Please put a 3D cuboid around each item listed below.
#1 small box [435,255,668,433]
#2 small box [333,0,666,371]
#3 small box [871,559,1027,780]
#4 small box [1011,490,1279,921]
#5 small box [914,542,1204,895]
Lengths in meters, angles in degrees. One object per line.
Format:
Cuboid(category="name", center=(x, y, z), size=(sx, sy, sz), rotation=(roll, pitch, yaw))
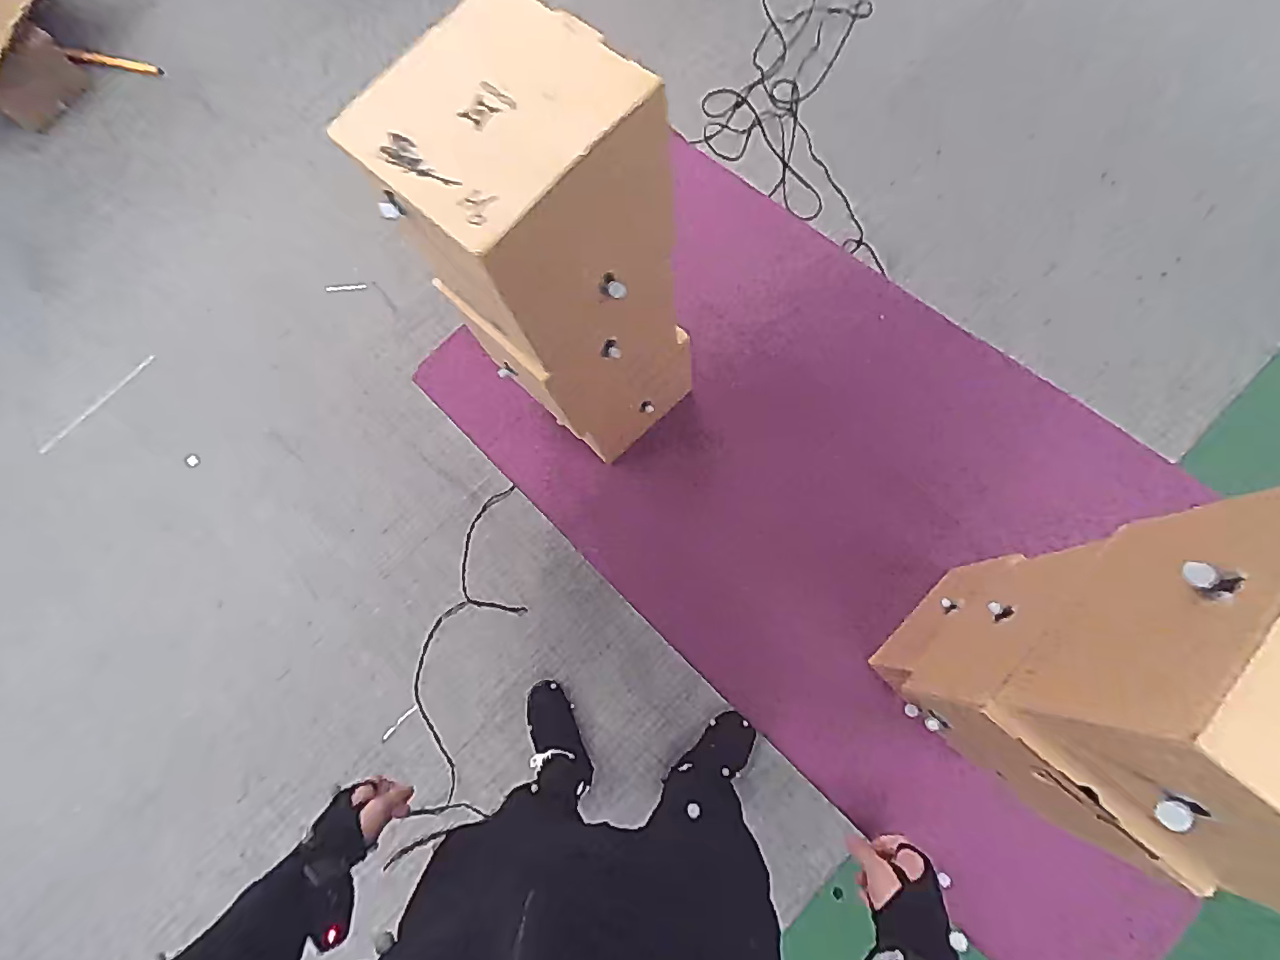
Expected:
Cuboid(category="small box", center=(-0.081, -0.180, 0.603), size=(0.168, 0.176, 0.179), rotation=(43, 84, 14))
Cuboid(category="small box", center=(-0.093, -0.227, 0.446), size=(0.168, 0.176, 0.179), rotation=(42, 83, 15))
Cuboid(category="small box", center=(0.399, 0.215, 0.618), size=(0.179, 0.176, 0.168), rotation=(-43, 74, -6))
Cuboid(category="small box", center=(0.358, 0.131, 0.306), size=(0.168, 0.176, 0.179), rotation=(41, 81, 16))
Cuboid(category="small box", center=(0.367, 0.183, 0.459), size=(0.168, 0.176, 0.179), rotation=(42, 81, 16))
